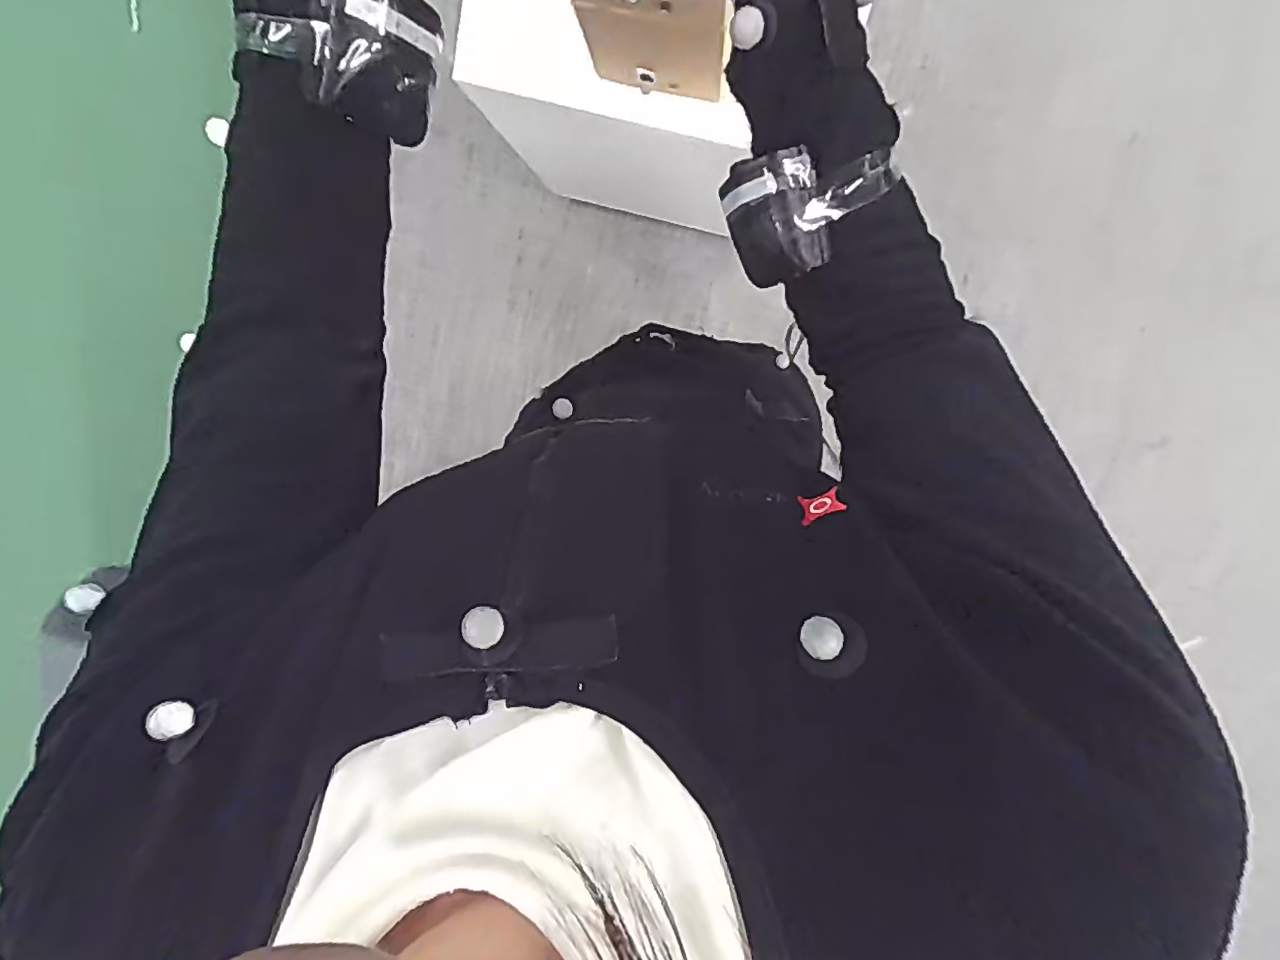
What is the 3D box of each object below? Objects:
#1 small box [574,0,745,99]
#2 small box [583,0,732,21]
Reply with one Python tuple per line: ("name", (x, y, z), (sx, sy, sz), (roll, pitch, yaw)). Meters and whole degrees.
("small box", (0.034, -0.566, 0.597), (0.168, 0.176, 0.179), (13, 106, 4))
("small box", (0.014, -0.532, 0.438), (0.168, 0.176, 0.179), (11, 103, 4))
